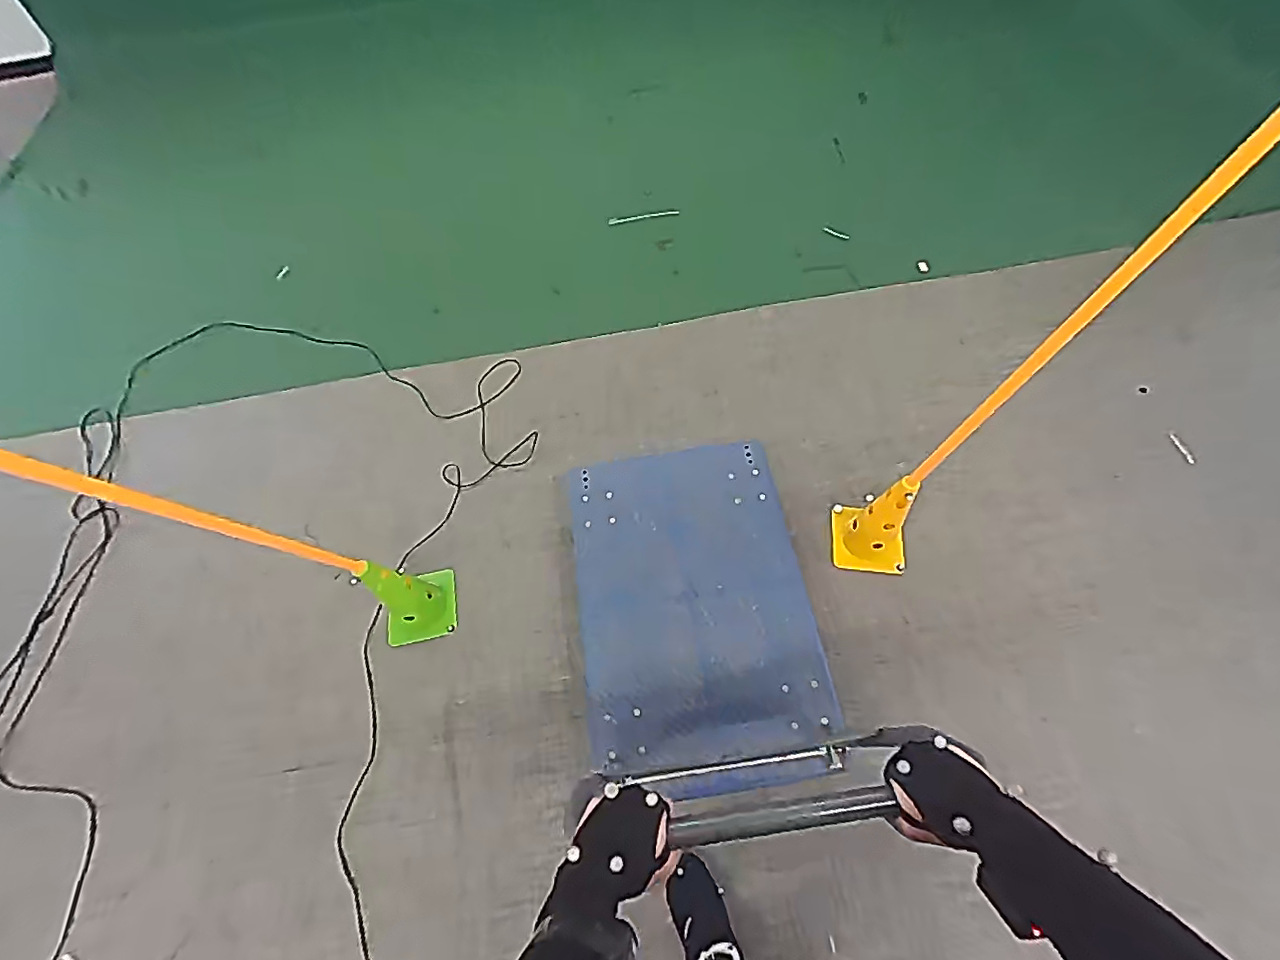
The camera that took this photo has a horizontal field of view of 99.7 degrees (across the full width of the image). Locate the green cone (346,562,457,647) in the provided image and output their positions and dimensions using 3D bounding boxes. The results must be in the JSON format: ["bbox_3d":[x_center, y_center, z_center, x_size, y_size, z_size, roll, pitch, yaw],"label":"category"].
[{"bbox_3d":[-0.660,0.293,1.448,0.202,0.368,0.200,-14,61,-1],"label":"green cone"}]
